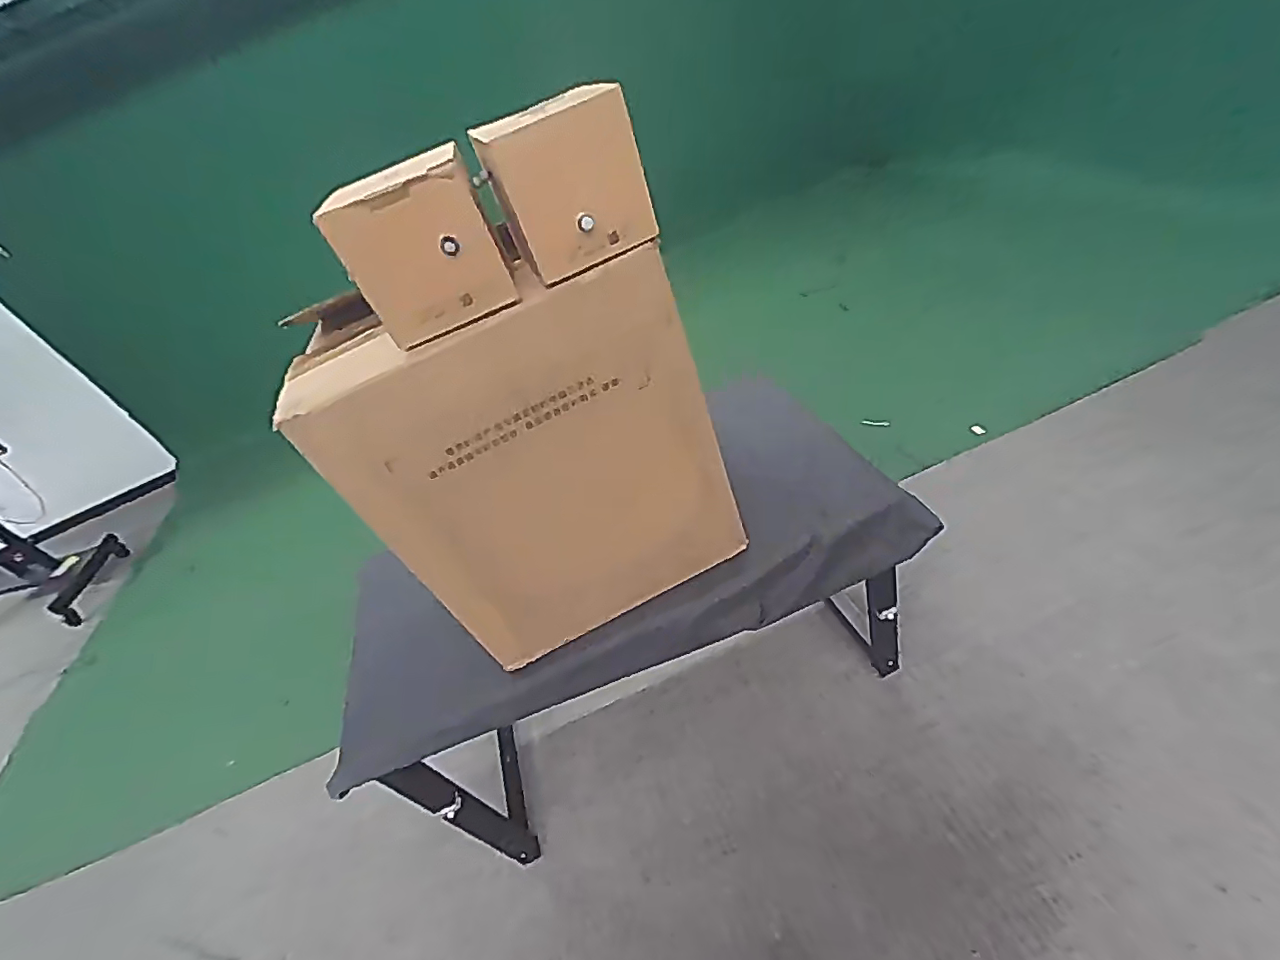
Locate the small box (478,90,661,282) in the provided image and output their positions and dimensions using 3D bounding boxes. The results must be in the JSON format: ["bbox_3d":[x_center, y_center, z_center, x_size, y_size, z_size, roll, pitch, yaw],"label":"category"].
[{"bbox_3d":[-0.092,-0.382,0.707,0.168,0.176,0.179,-26,41,-5],"label":"small box"}]
